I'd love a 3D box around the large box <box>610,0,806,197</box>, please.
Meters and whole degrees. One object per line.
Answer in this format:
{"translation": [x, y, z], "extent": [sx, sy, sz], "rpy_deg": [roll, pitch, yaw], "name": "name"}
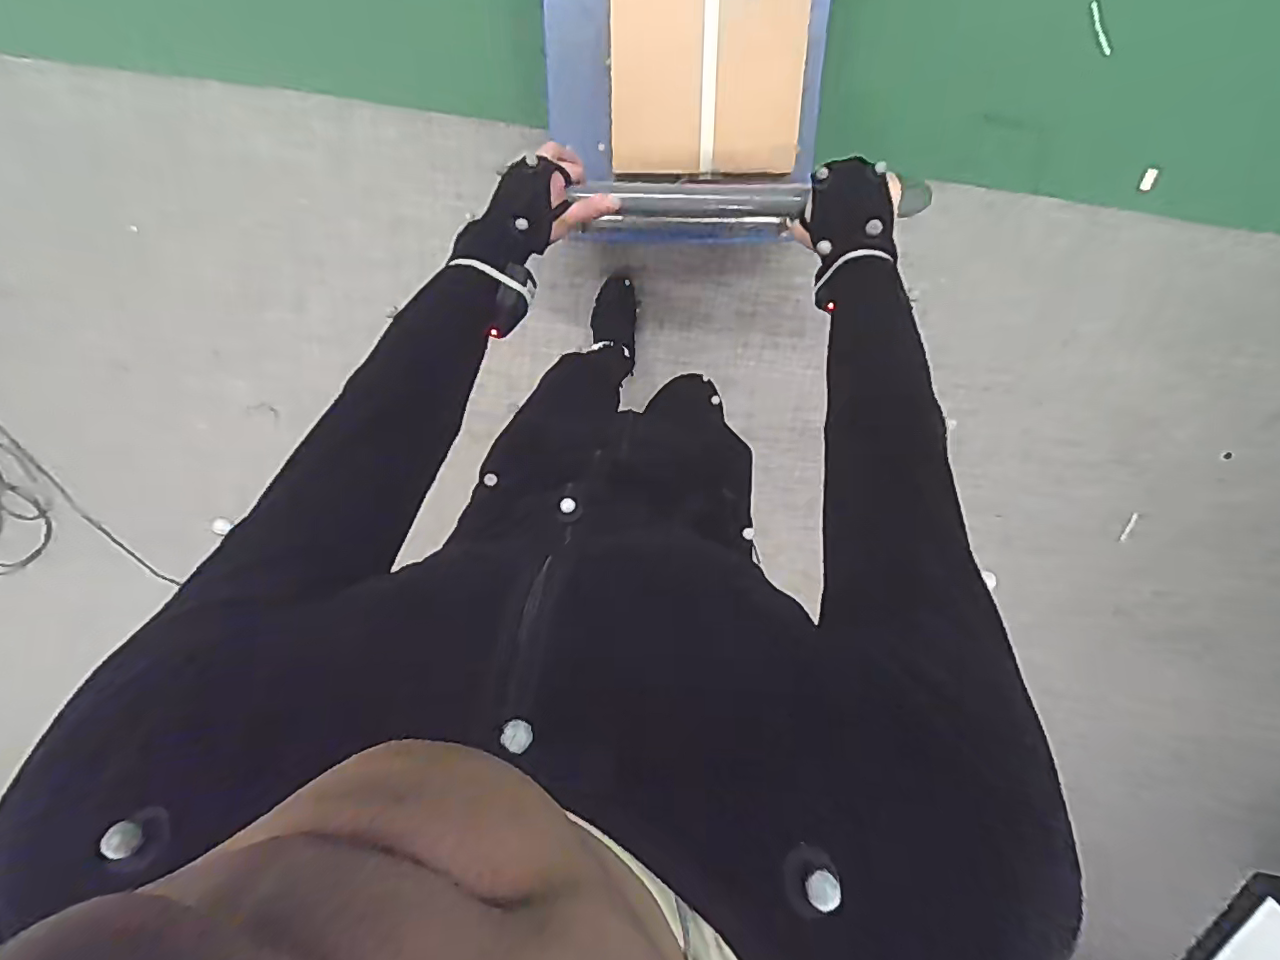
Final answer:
{"translation": [0.110, -0.766, 1.000], "extent": [0.320, 0.320, 0.408], "rpy_deg": [0, 112, 0], "name": "large box"}
